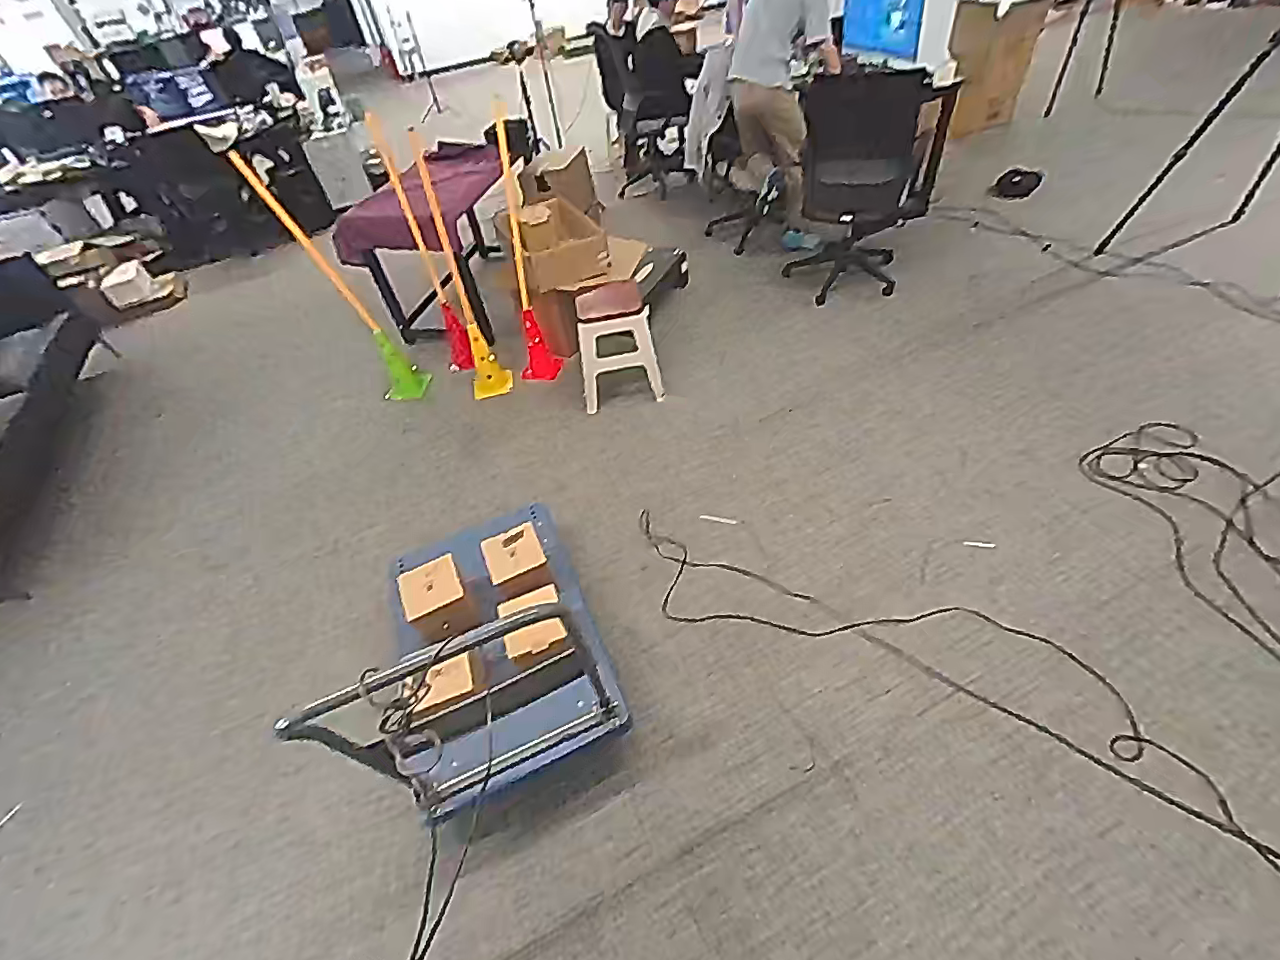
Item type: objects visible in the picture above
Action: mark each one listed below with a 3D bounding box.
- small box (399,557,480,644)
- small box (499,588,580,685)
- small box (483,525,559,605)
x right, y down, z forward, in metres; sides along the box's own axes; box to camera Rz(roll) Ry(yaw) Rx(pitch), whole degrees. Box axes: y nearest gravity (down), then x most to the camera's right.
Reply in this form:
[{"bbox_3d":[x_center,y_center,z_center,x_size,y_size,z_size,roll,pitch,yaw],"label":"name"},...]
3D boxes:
[{"bbox_3d":[-0.603,0.374,1.642,0.168,0.176,0.179,-24,48,-13],"label":"small box"},{"bbox_3d":[-0.281,0.443,1.523,0.168,0.176,0.179,-21,49,-8],"label":"small box"},{"bbox_3d":[-0.370,0.279,1.686,0.168,0.176,0.179,-24,49,-10],"label":"small box"}]
